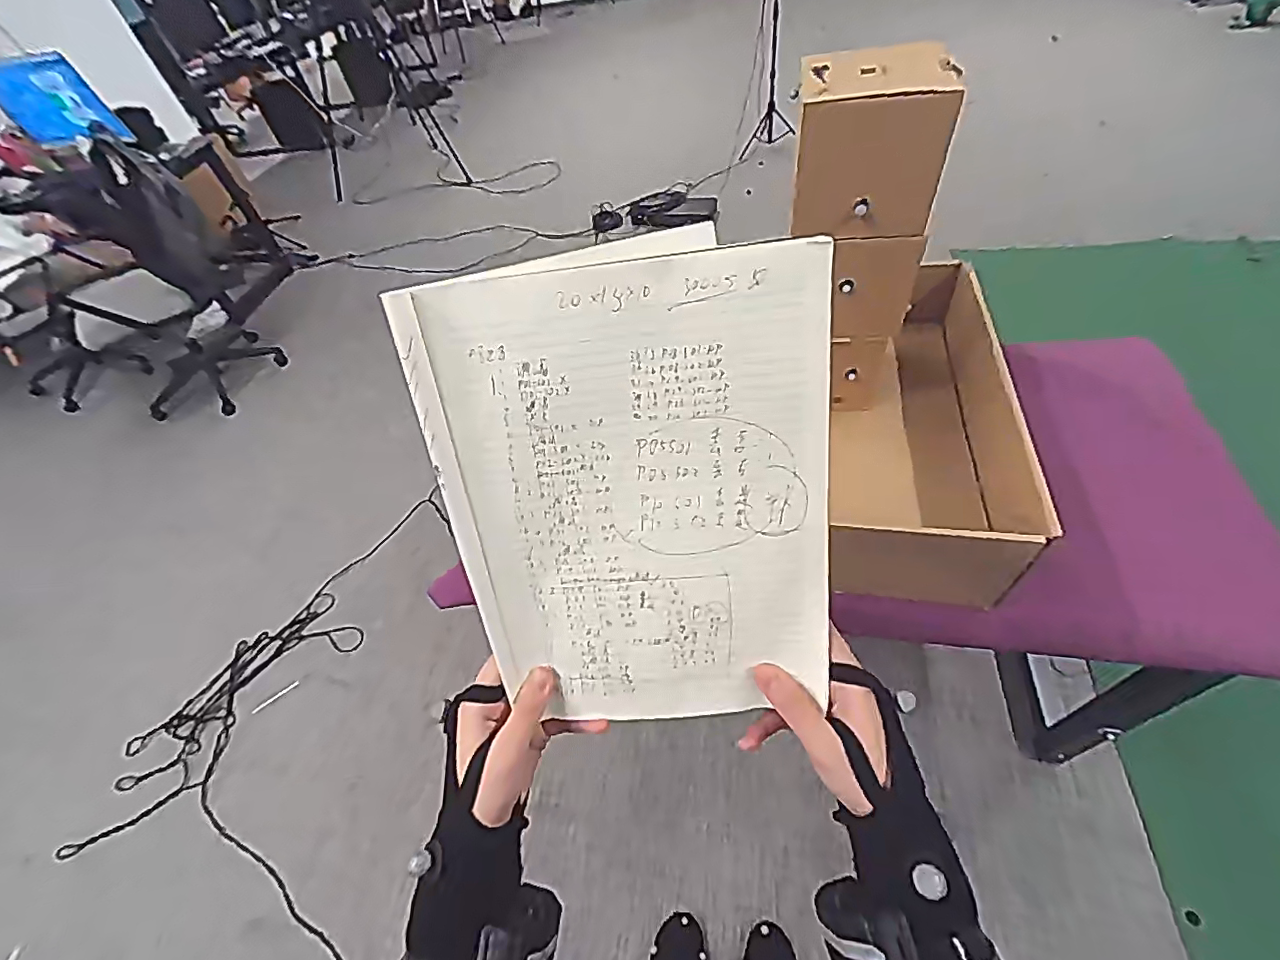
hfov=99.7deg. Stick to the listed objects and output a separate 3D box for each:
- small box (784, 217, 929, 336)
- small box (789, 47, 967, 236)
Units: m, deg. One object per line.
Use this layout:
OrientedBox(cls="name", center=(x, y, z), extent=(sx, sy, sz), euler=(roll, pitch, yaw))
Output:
OrientedBox(cls="small box", center=(0.325, -0.341, 0.848), extent=(0.179, 0.176, 0.168), euler=(2, 52, 11))
OrientedBox(cls="small box", center=(0.302, -0.445, 0.723), extent=(0.179, 0.176, 0.168), euler=(4, 52, 11))
